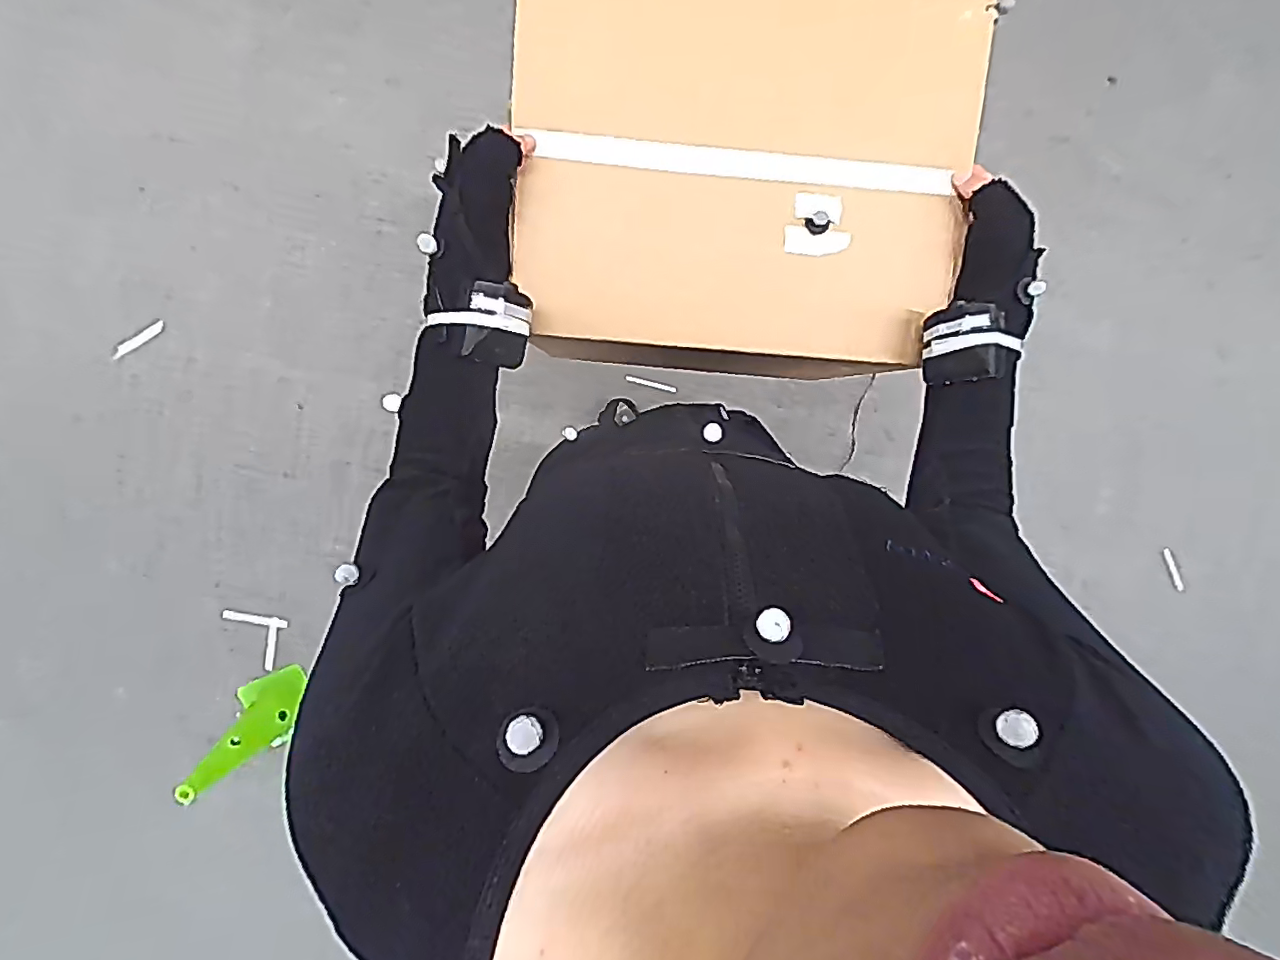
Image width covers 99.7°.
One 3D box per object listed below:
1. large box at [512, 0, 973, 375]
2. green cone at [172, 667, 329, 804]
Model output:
[{"bbox_3d":[0.078,-0.295,0.625,0.408,0.320,0.320,3,98,-4],"label":"large box"},{"bbox_3d":[-1.008,0.666,1.364,0.202,0.368,0.200,-24,97,3],"label":"green cone"}]
